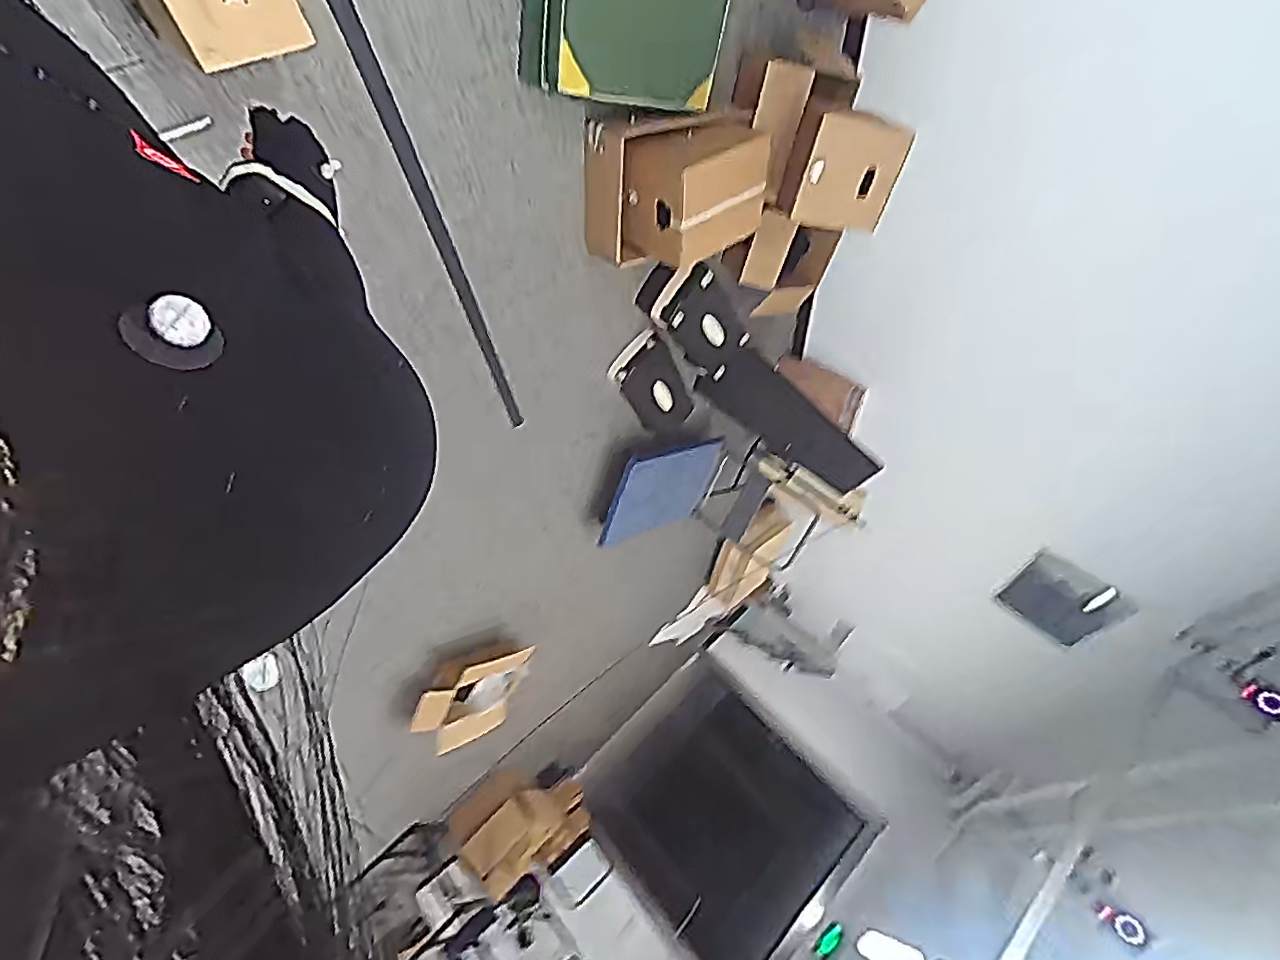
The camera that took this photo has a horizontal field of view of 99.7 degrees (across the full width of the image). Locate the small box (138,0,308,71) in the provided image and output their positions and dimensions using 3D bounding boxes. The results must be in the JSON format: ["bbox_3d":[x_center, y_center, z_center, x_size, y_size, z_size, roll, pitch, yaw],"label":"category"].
[{"bbox_3d":[-0.652,-0.749,0.810,0.179,0.176,0.168,-37,148,-23],"label":"small box"}]

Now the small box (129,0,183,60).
[{"bbox_3d":[-0.759,-0.838,0.895,0.168,0.176,0.179,-38,151,-24],"label":"small box"}]
